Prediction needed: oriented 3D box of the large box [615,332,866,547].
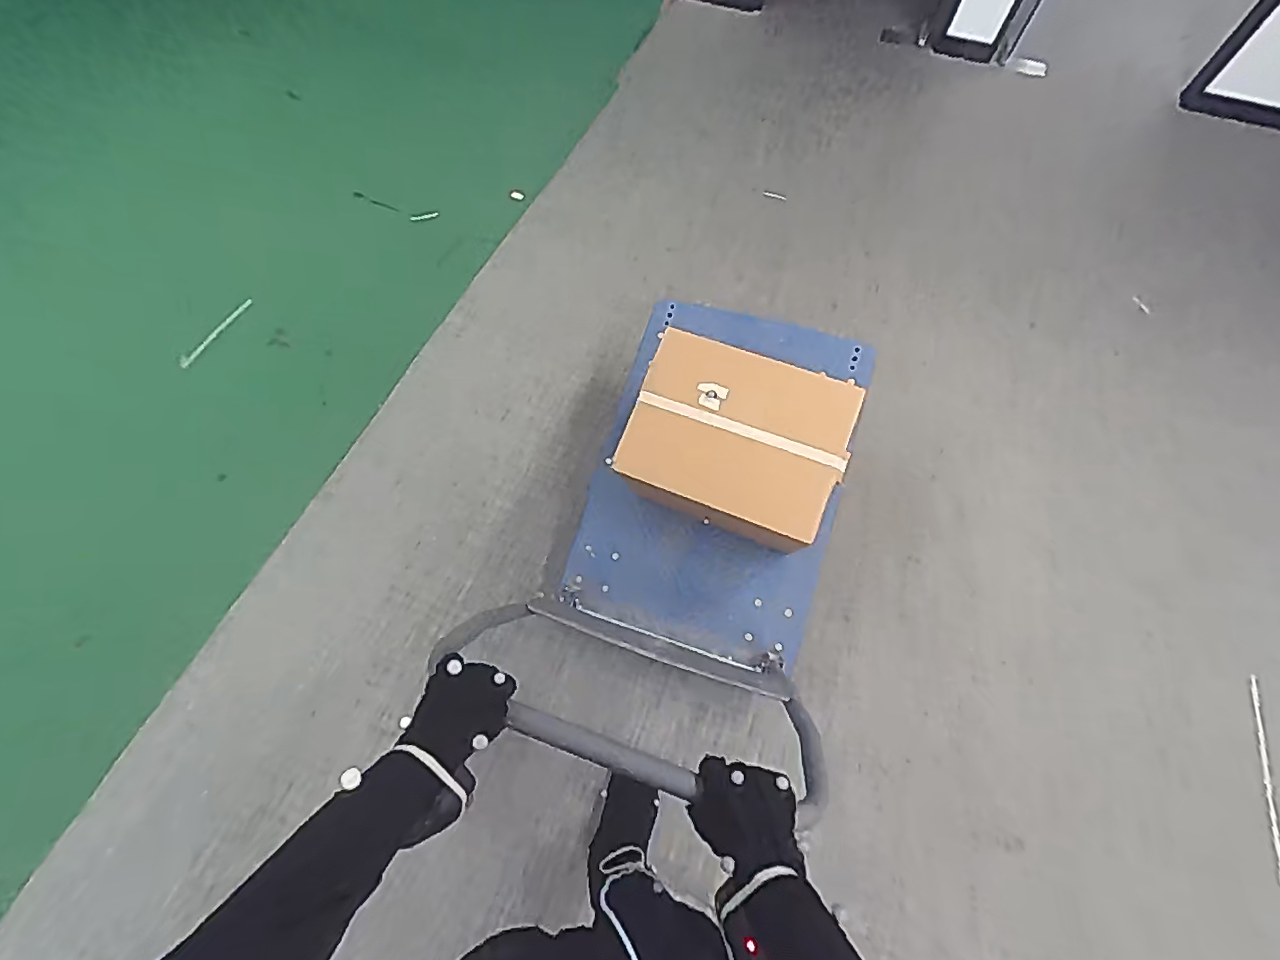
[{"bbox_3d":[0.212,-0.068,1.167,0.408,0.320,0.320,20,83,13],"label":"large box"}]
